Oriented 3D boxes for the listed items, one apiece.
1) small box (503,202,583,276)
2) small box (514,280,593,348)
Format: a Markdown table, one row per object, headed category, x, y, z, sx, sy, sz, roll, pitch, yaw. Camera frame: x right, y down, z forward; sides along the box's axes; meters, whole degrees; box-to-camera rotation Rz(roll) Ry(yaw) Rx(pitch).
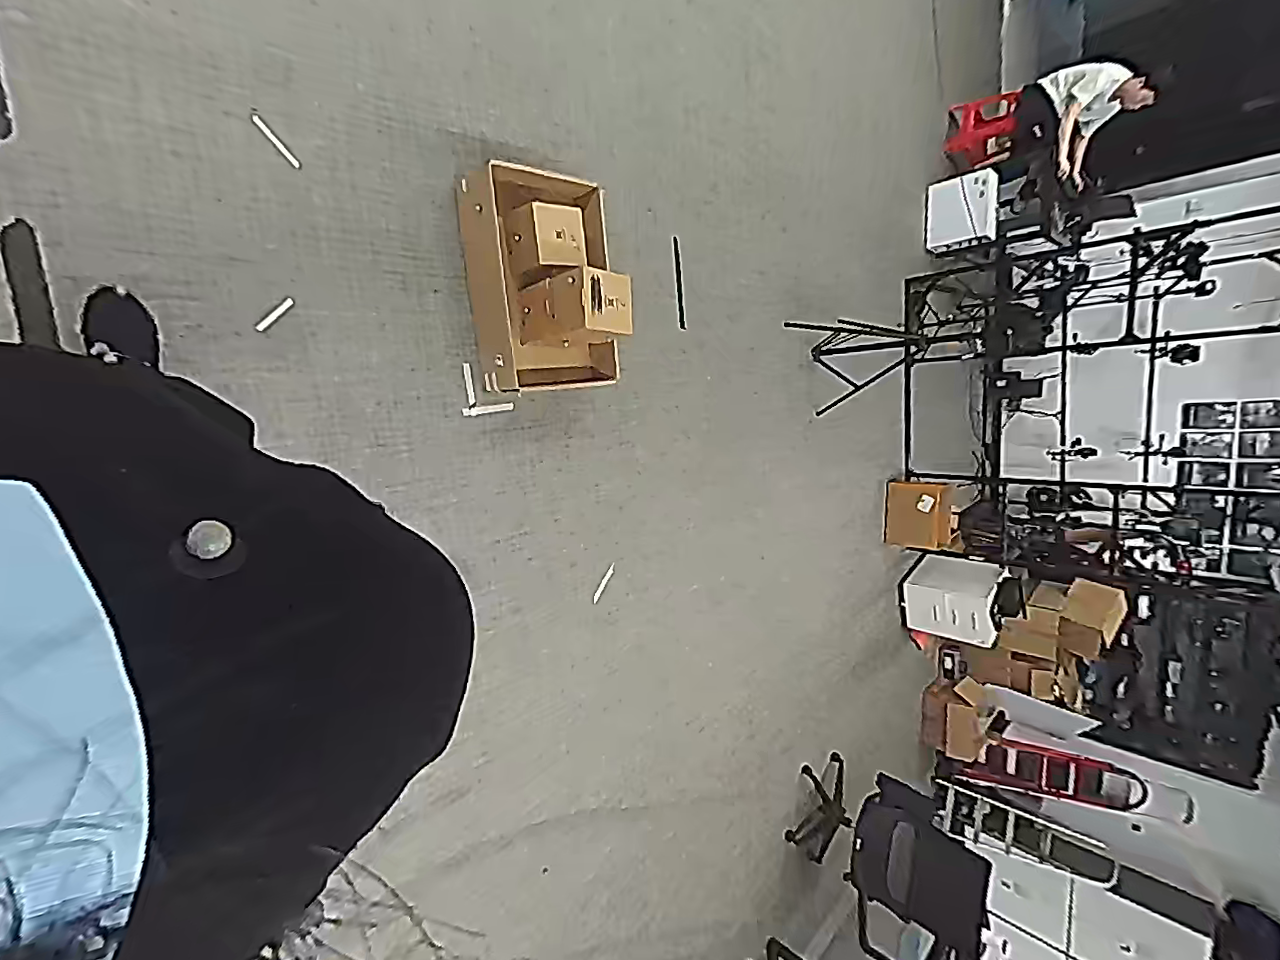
| category | x | y | z | sx | sy | sz | roll | pitch | yaw |
| --- | --- | --- | --- | --- | --- | --- | --- | --- | --- |
| small box | -0.296 | -0.713 | 1.621 | 0.179 | 0.176 | 0.168 | -17 | 107 | -42 |
| small box | -0.268 | -0.505 | 1.675 | 0.179 | 0.176 | 0.168 | -8 | 97 | -43 |
